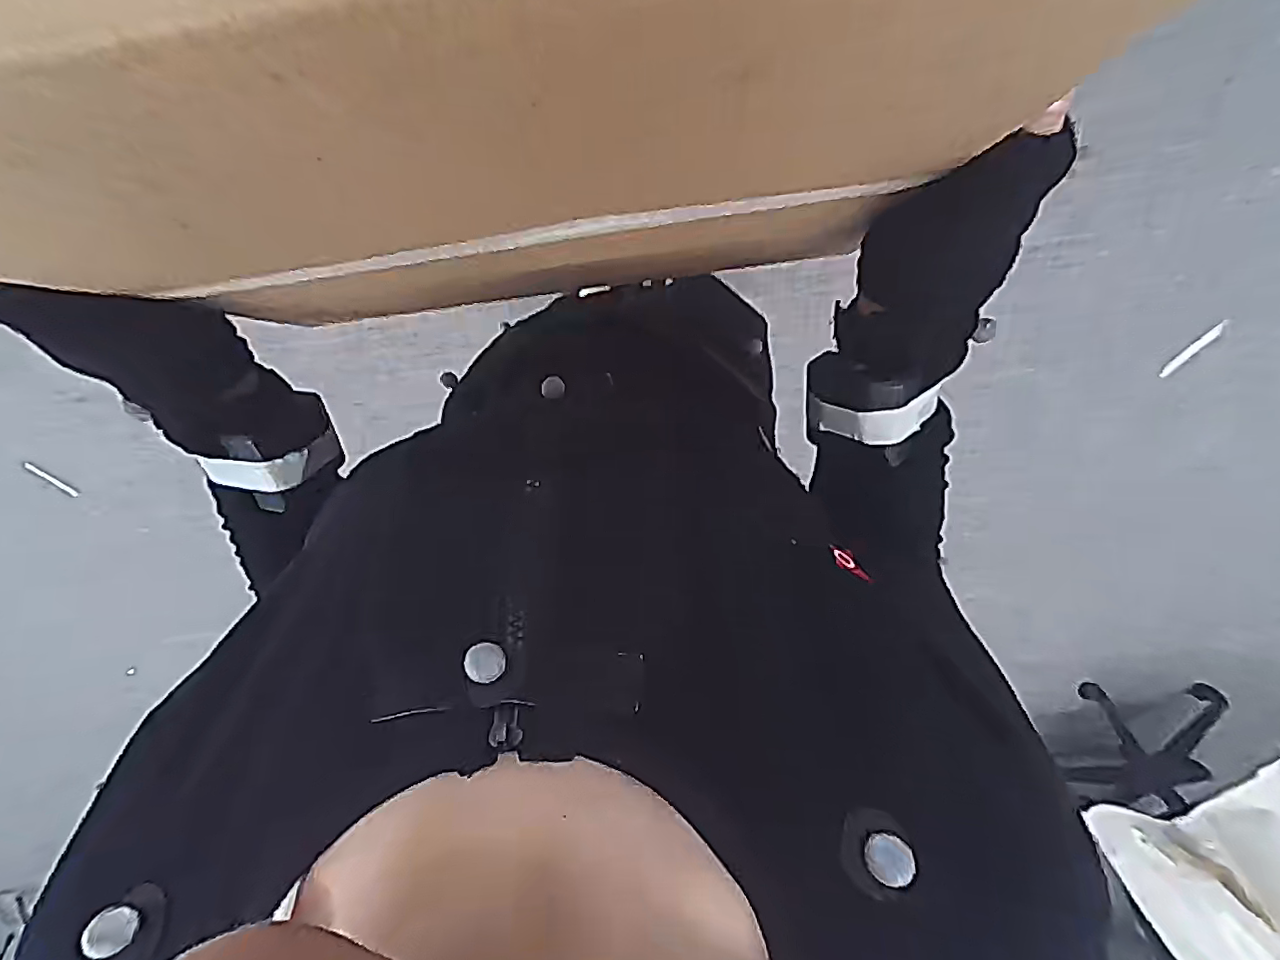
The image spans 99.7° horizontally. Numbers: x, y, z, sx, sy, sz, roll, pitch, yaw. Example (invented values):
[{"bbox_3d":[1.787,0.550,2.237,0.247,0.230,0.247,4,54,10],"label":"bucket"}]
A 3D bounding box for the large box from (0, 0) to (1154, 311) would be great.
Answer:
[{"bbox_3d":[-0.075,-0.272,0.227,0.408,0.320,0.320,-6,101,4],"label":"large box"}]
